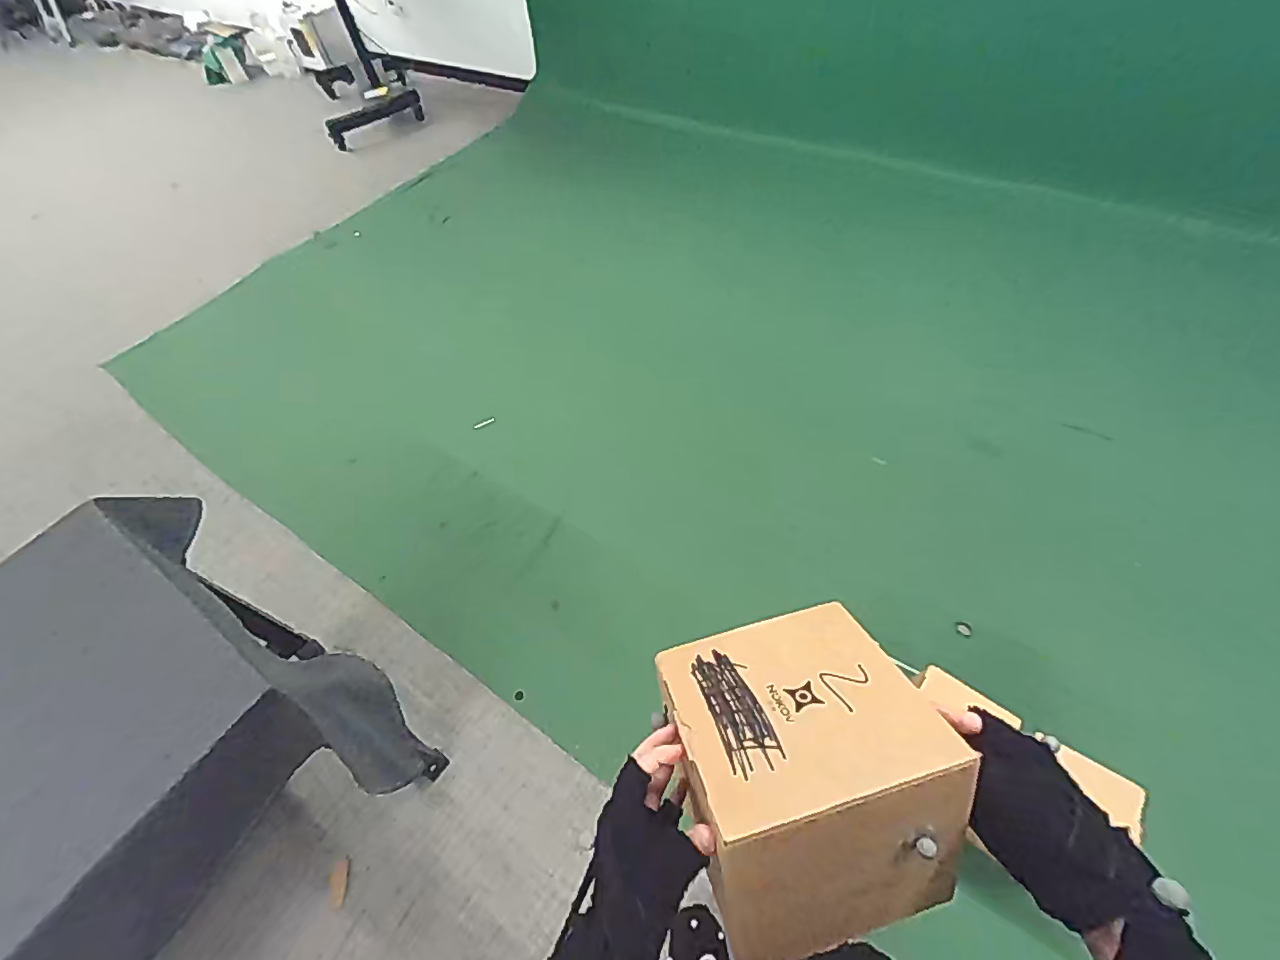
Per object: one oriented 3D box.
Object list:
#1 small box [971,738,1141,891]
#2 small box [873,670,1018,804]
[{"bbox_3d":[0.762,0.614,1.004,0.179,0.176,0.168,29,62,22],"label":"small box"},{"bbox_3d":[0.604,0.520,1.088,0.179,0.176,0.168,32,65,26],"label":"small box"}]
